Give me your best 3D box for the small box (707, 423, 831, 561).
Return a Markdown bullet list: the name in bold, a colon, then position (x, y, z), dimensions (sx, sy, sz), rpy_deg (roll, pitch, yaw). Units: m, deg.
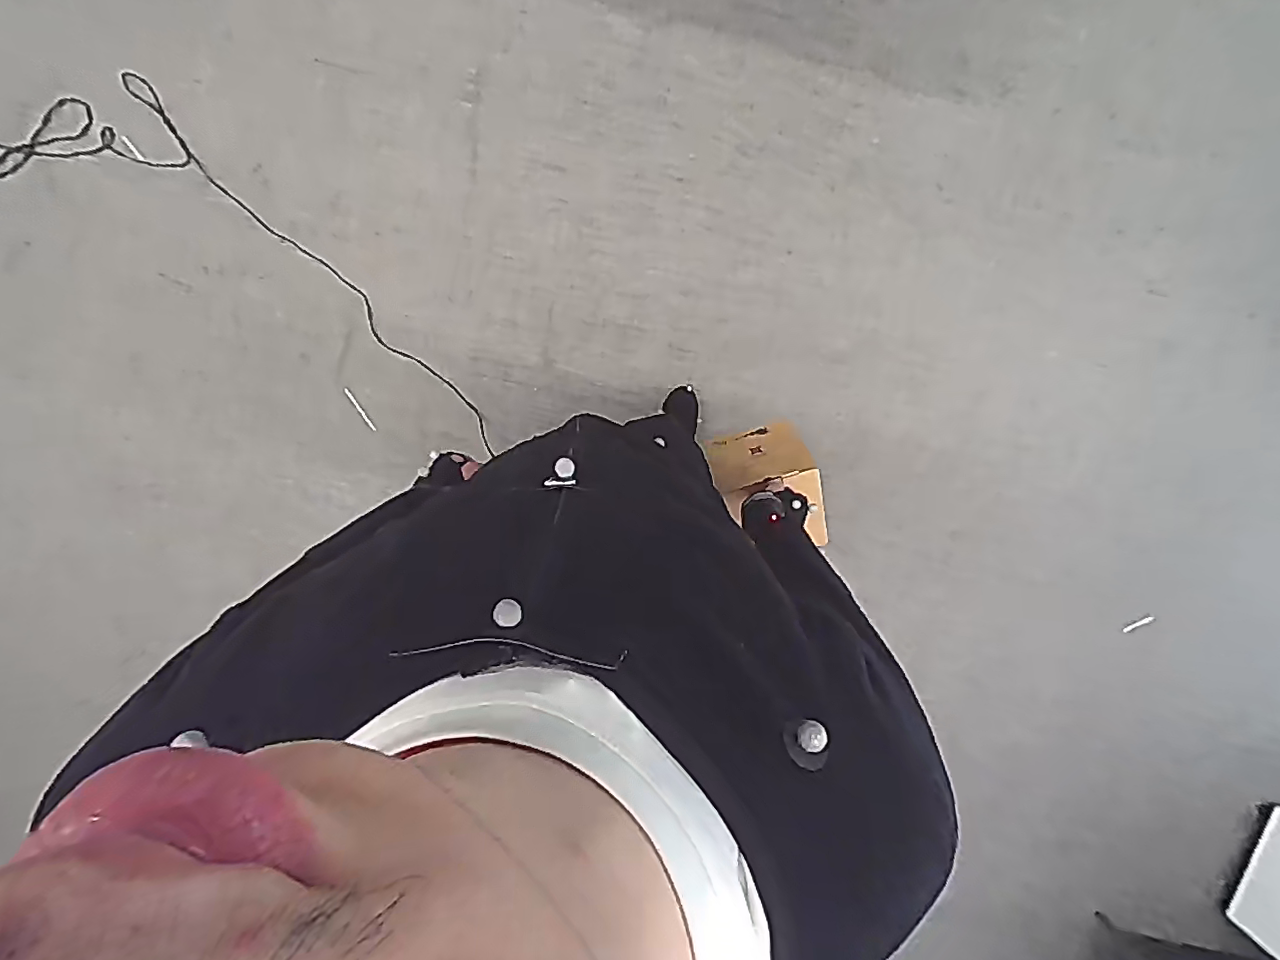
- **small box**: position (0.234, 0.027, 0.988), dimensions (0.168, 0.179, 0.176), rpy_deg (-18, 122, 6)
